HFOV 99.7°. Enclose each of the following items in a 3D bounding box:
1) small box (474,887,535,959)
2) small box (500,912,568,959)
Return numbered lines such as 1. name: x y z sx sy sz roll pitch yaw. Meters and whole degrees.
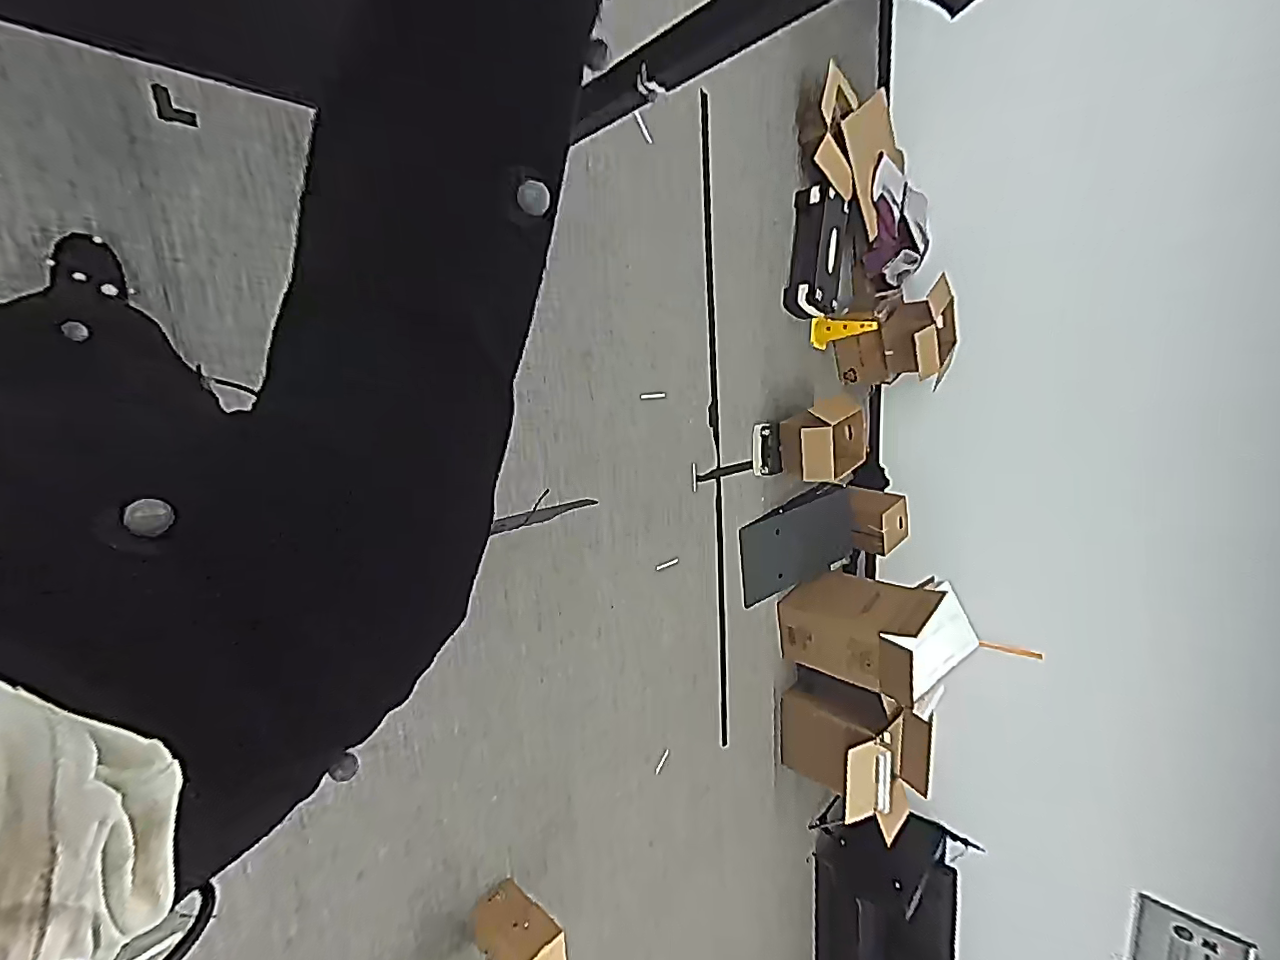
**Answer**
1. small box: -0.490 1.653 1.974 0.168 0.176 0.179 -11 103 -46
2. small box: -0.366 1.661 1.865 0.168 0.176 0.179 -12 103 -46
